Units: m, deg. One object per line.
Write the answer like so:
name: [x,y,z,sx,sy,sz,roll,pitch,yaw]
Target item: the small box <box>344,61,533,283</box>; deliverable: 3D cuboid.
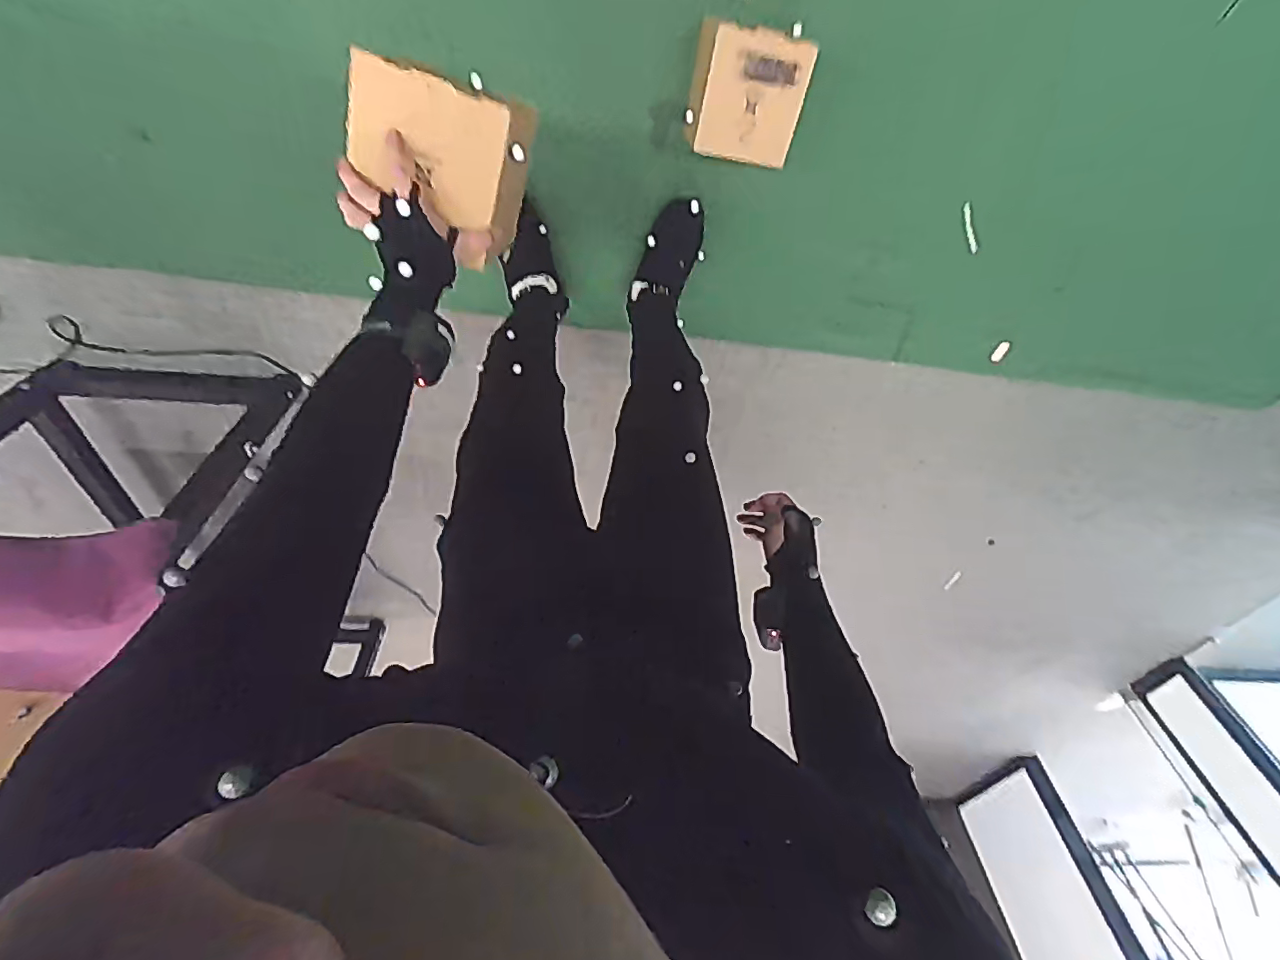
small box: [-0.240,-0.374,0.668,0.168,0.176,0.179,17,122,-9]
